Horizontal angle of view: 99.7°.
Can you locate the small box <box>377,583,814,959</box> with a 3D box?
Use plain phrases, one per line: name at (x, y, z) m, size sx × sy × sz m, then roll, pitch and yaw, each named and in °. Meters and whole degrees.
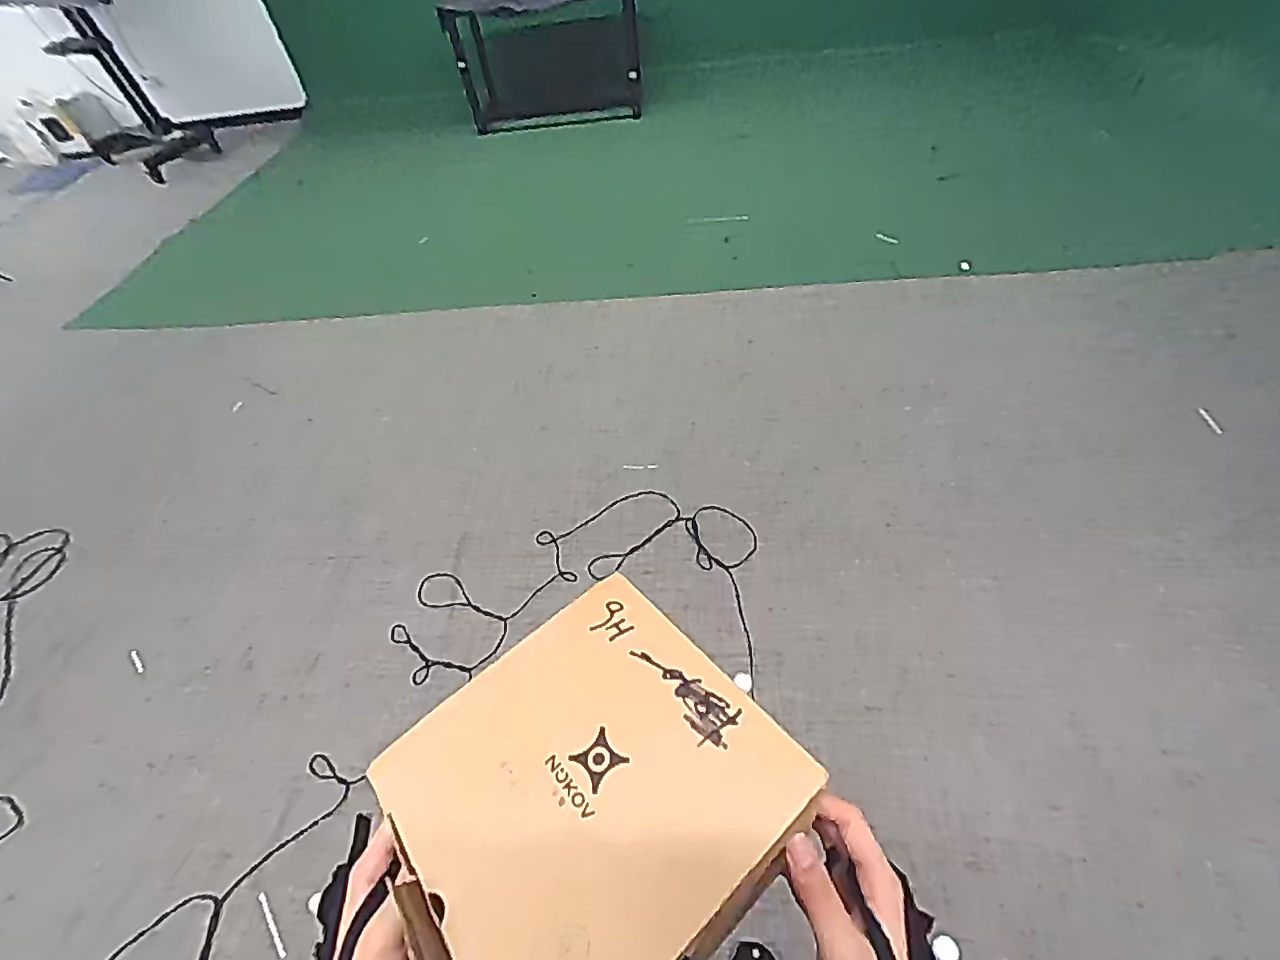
small box at (-0.016, 0.207, 0.334) m, size 0.179 × 0.176 × 0.168 m, roll -37°, pitch 52°, yaw -21°
